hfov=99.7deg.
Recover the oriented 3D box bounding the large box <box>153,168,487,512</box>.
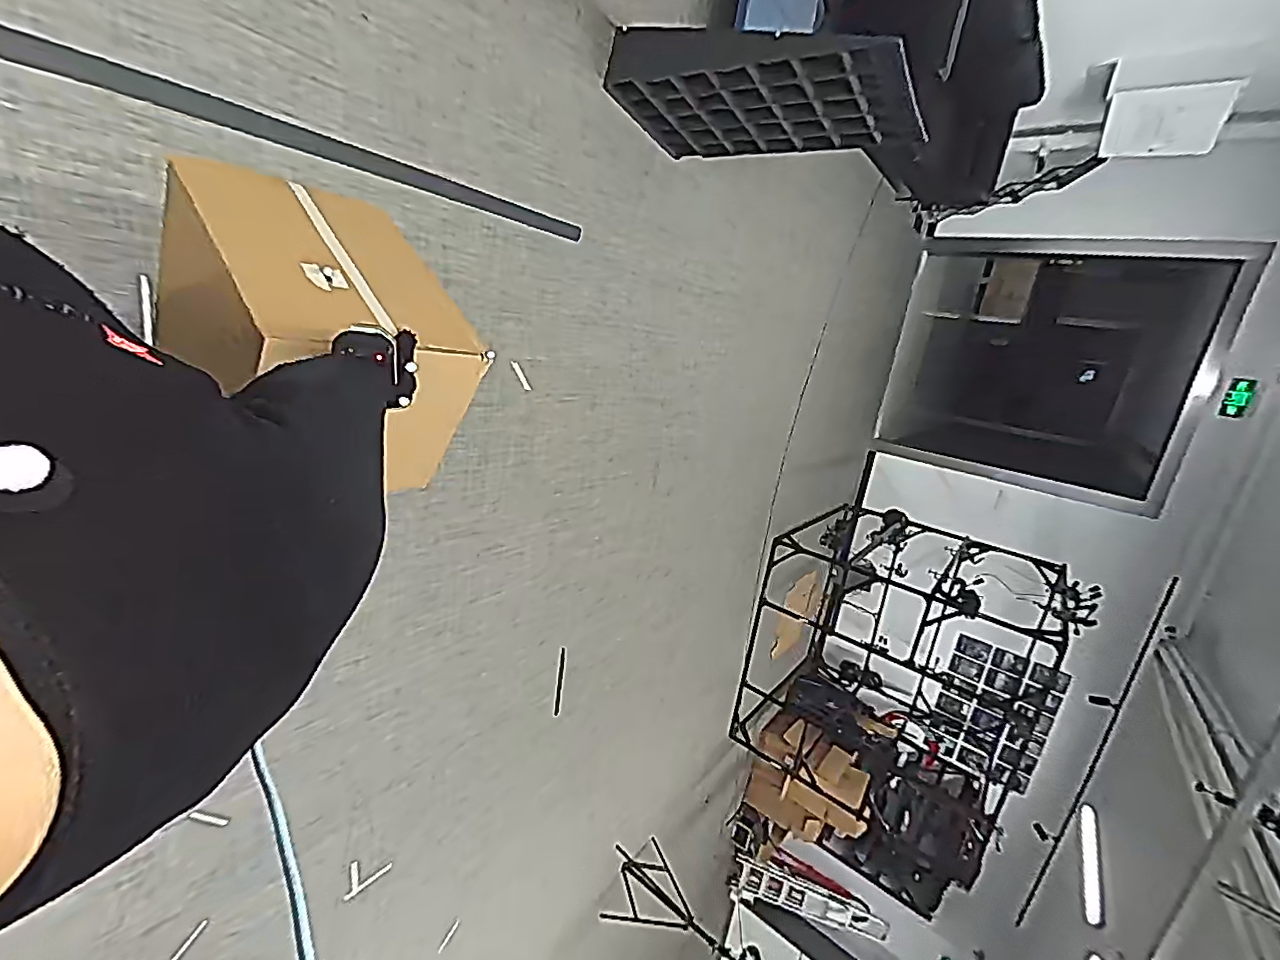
[{"bbox_3d":[-0.534,-0.212,0.890,0.320,0.408,0.320,-11,148,-52],"label":"large box"}]
